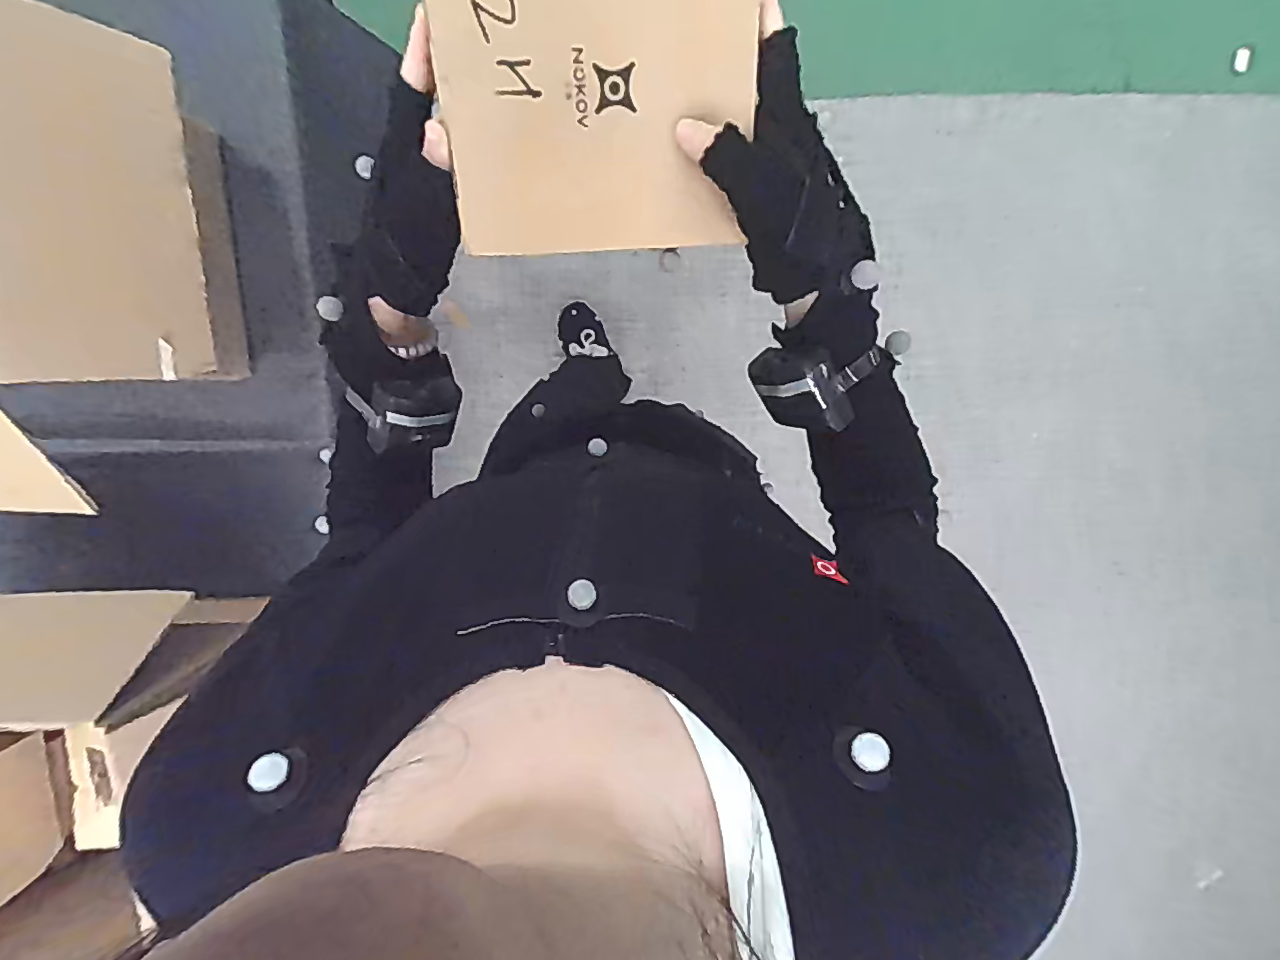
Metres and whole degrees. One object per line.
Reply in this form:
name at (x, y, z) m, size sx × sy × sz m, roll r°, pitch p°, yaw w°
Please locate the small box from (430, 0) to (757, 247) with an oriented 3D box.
small box at (-0.029, -0.255, 0.372) m, size 0.179 × 0.176 × 0.168 m, roll -3°, pitch 116°, yaw -4°
